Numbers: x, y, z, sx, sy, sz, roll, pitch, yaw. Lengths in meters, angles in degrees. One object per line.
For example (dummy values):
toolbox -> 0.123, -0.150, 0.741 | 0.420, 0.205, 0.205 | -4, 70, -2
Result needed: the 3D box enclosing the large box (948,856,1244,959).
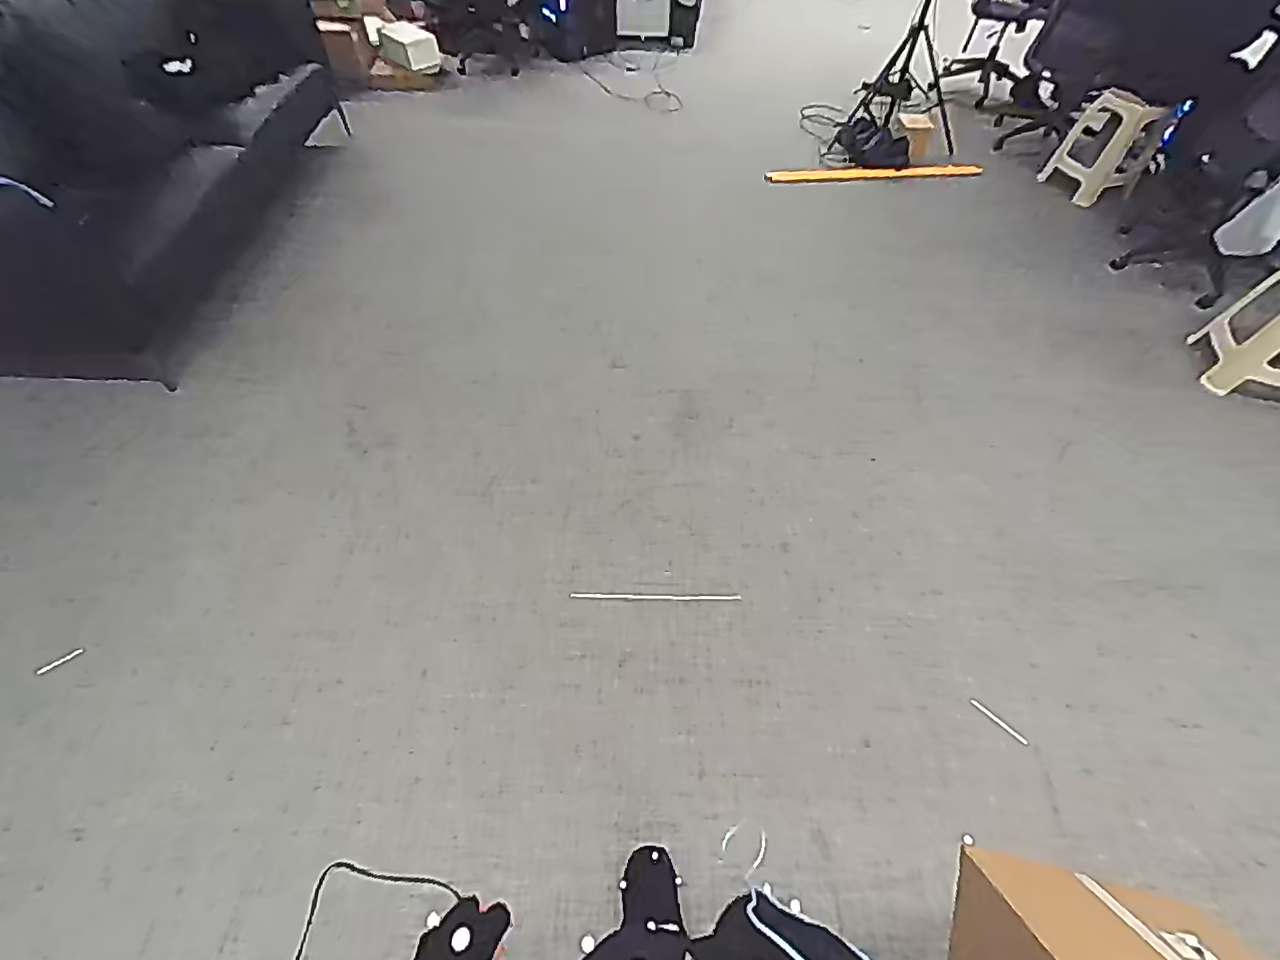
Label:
large box -> 0.571, 0.708, 0.576 | 0.320, 0.408, 0.320 | 11, 84, 9
